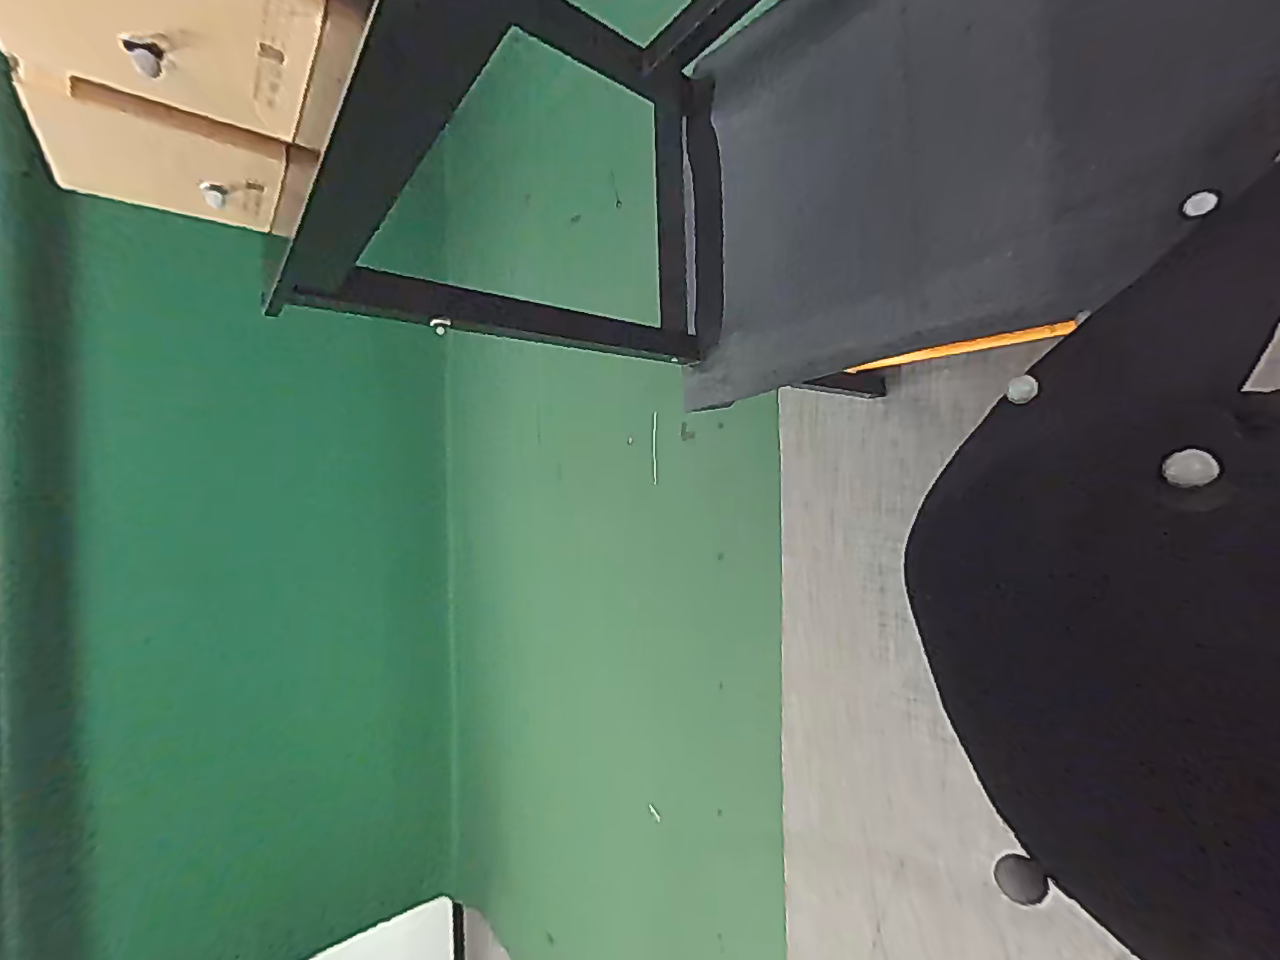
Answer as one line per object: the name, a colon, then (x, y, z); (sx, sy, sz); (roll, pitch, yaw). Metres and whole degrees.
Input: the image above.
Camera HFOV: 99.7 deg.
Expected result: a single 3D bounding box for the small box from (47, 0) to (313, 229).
small box: (-0.422, -0.371, 0.512); (0.168, 0.176, 0.179); (-3, 89, 51)
